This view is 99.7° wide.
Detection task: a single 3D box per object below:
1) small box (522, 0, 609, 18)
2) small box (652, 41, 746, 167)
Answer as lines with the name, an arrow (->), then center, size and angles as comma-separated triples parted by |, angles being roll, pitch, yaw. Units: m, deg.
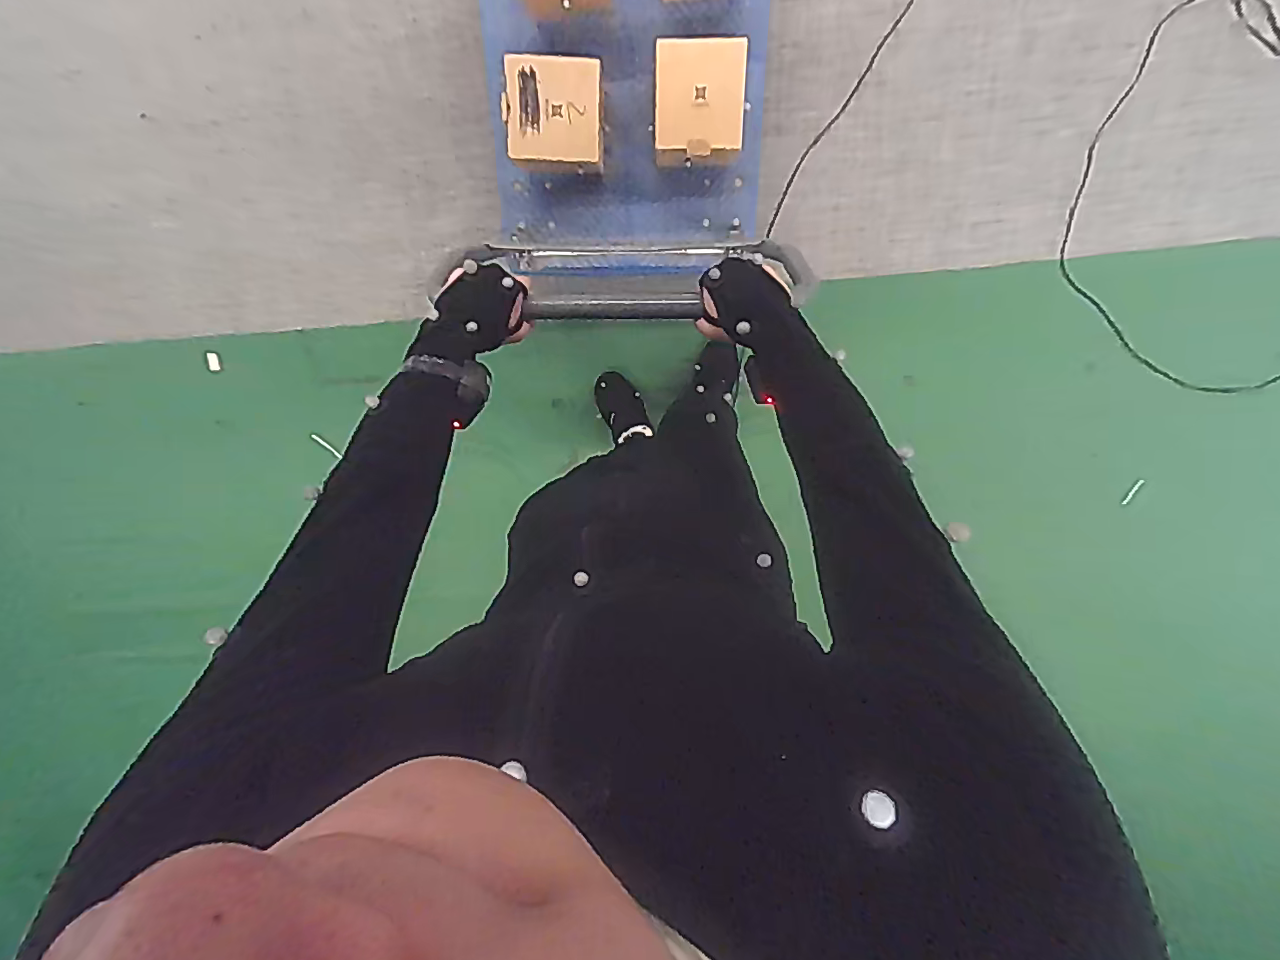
small box -> -0.149, -0.975, 0.975 | 0.168, 0.176, 0.179 | -8, 112, 2
small box -> 0.110, -0.737, 1.075 | 0.168, 0.176, 0.179 | 0, 113, 0
